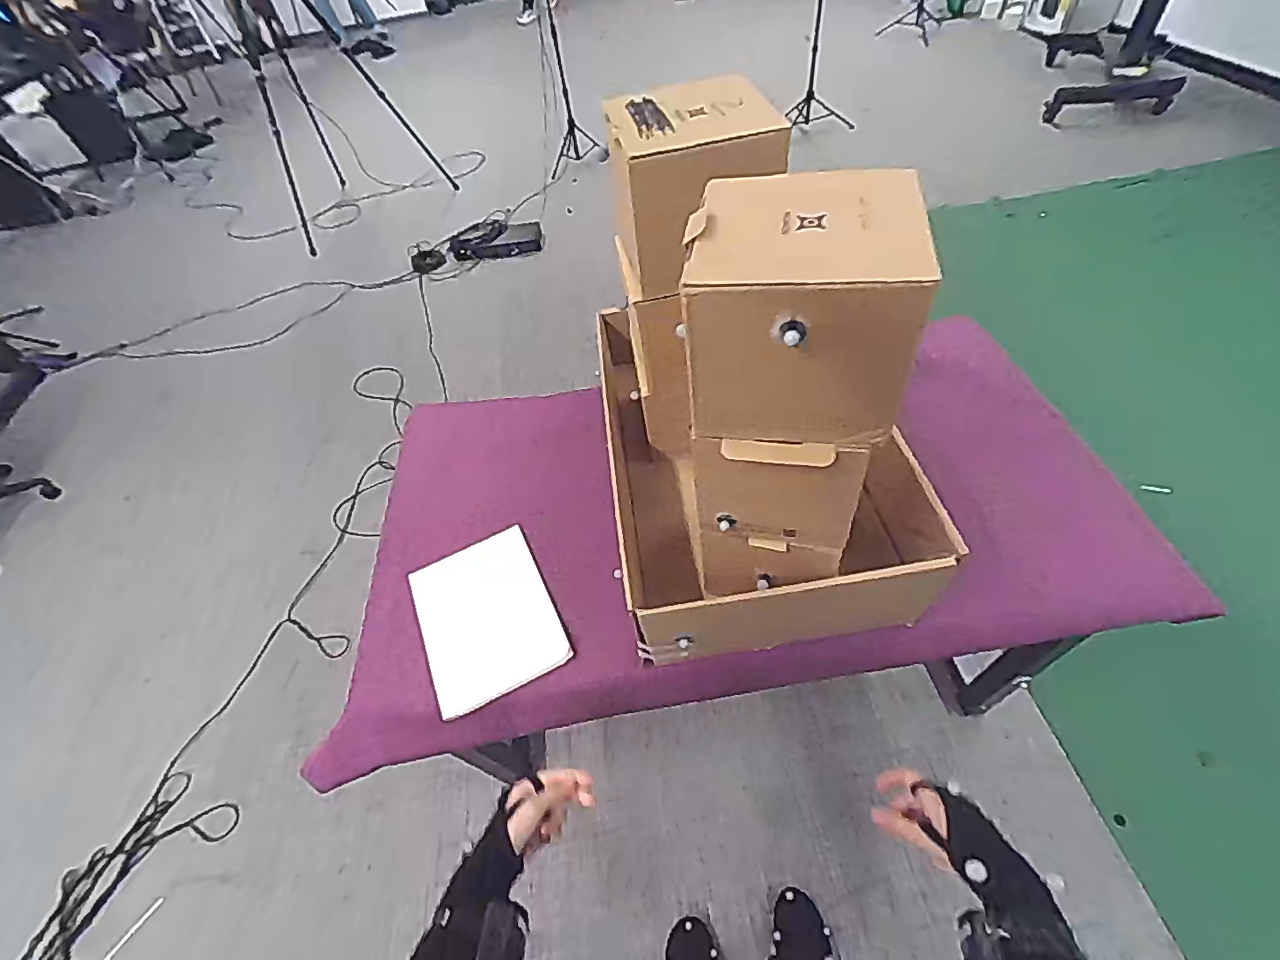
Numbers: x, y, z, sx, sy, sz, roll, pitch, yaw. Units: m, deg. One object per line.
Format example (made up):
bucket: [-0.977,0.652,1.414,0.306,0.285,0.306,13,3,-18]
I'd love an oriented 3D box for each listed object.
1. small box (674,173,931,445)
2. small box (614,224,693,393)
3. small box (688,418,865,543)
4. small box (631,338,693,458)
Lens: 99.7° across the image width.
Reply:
small box: [0.137,-0.146,0.483,0.179,0.176,0.168,4,53,14]
small box: [0.069,-0.248,0.790,0.179,0.176,0.168,-11,53,0]
small box: [0.157,-0.048,0.611,0.168,0.176,0.179,6,52,15]
small box: [0.083,-0.153,0.920,0.168,0.176,0.179,-9,53,1]
